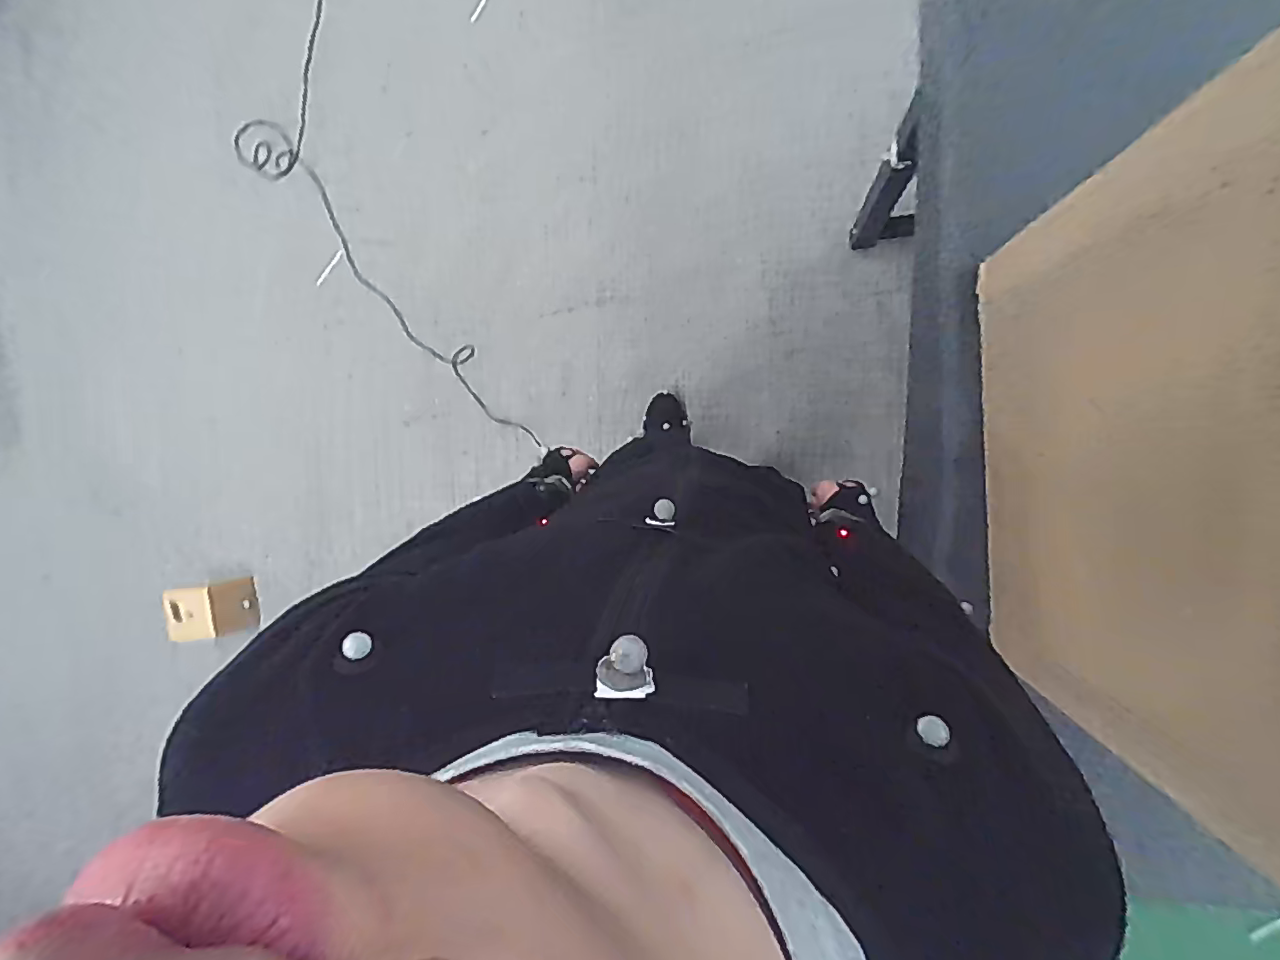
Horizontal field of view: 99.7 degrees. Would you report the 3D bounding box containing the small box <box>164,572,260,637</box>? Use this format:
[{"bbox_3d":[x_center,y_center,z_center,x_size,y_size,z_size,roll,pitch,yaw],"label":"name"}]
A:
[{"bbox_3d":[-1.407,0.408,1.784,0.179,0.176,0.168,-7,93,10],"label":"small box"}]
